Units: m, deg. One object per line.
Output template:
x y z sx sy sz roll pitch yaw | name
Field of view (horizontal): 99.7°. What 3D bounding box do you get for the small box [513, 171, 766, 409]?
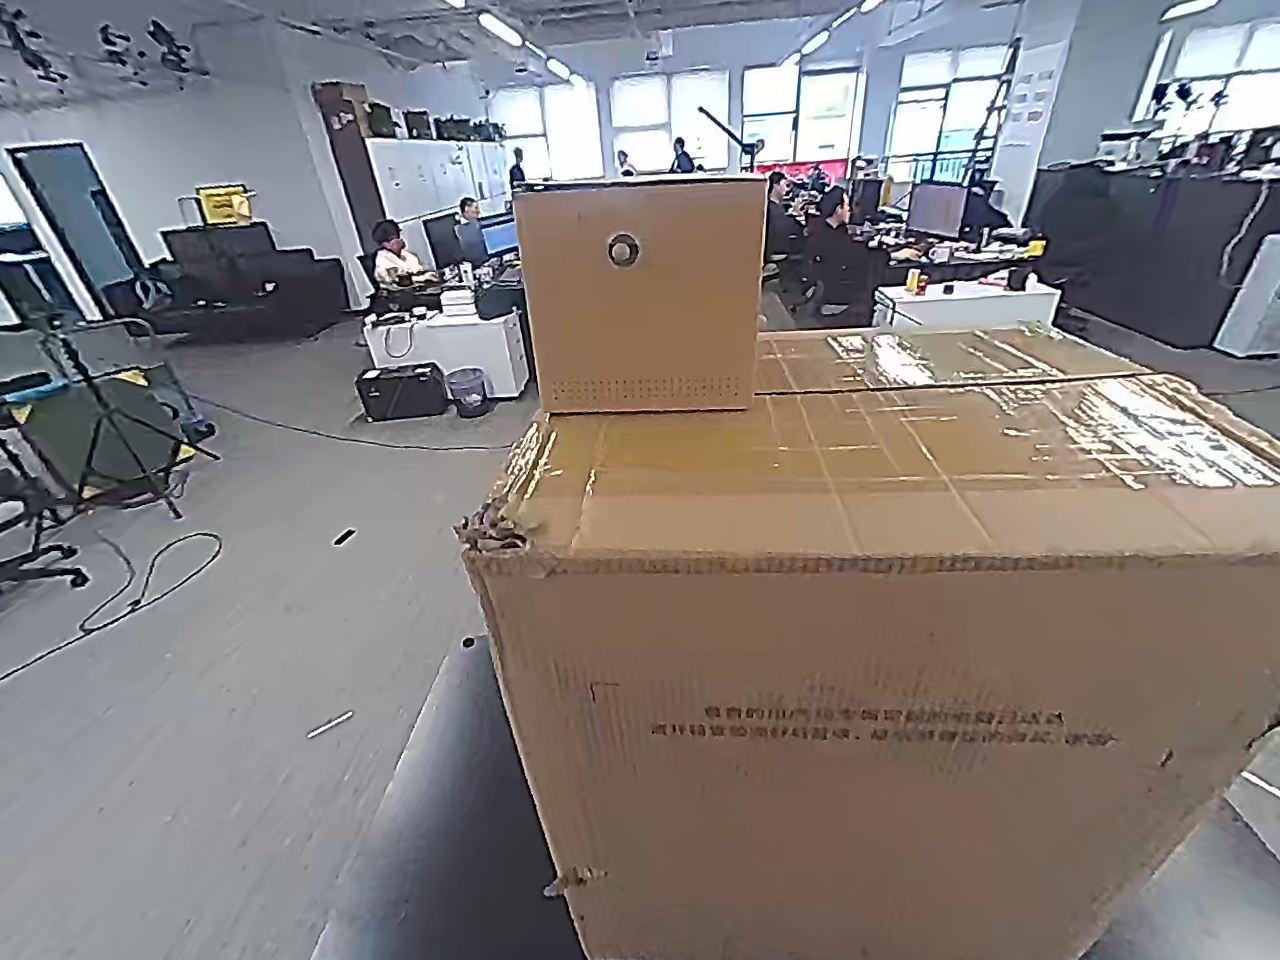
0.007 -0.166 0.470 0.179 0.176 0.168 0 30 4 | small box
